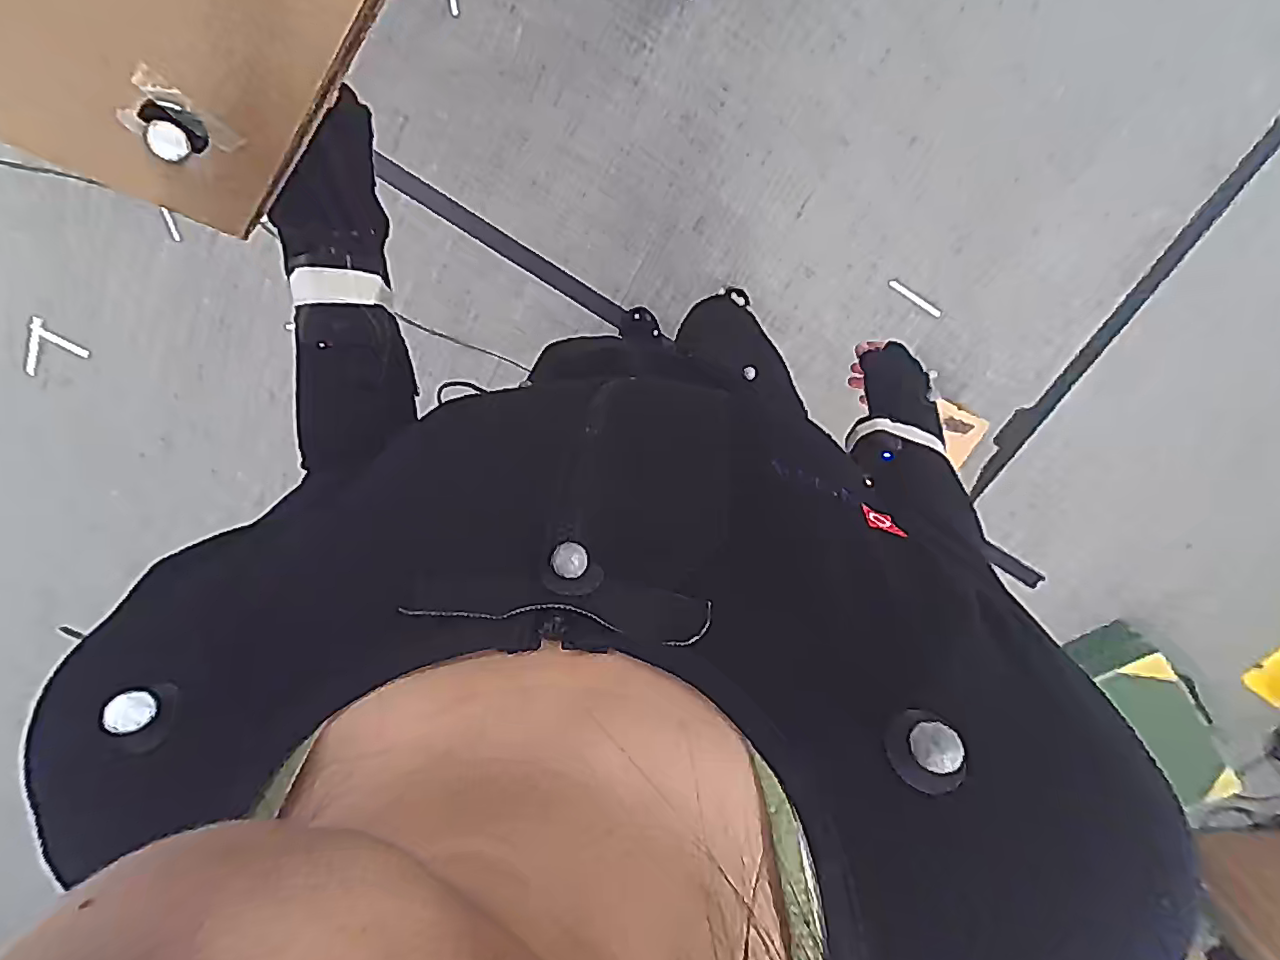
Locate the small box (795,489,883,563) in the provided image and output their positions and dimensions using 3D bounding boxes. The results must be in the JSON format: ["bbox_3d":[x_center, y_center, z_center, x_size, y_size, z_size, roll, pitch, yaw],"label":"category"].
[{"bbox_3d":[0.543,0.157,1.471,0.168,0.176,0.179,33,110,-9],"label":"small box"}]

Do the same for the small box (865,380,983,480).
[{"bbox_3d":[0.697,-0.132,1.354,0.168,0.176,0.179,25,110,-6],"label":"small box"}]

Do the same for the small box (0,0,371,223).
[{"bbox_3d":[-0.216,-0.251,0.206,0.179,0.176,0.168,-31,64,32],"label":"small box"}]
